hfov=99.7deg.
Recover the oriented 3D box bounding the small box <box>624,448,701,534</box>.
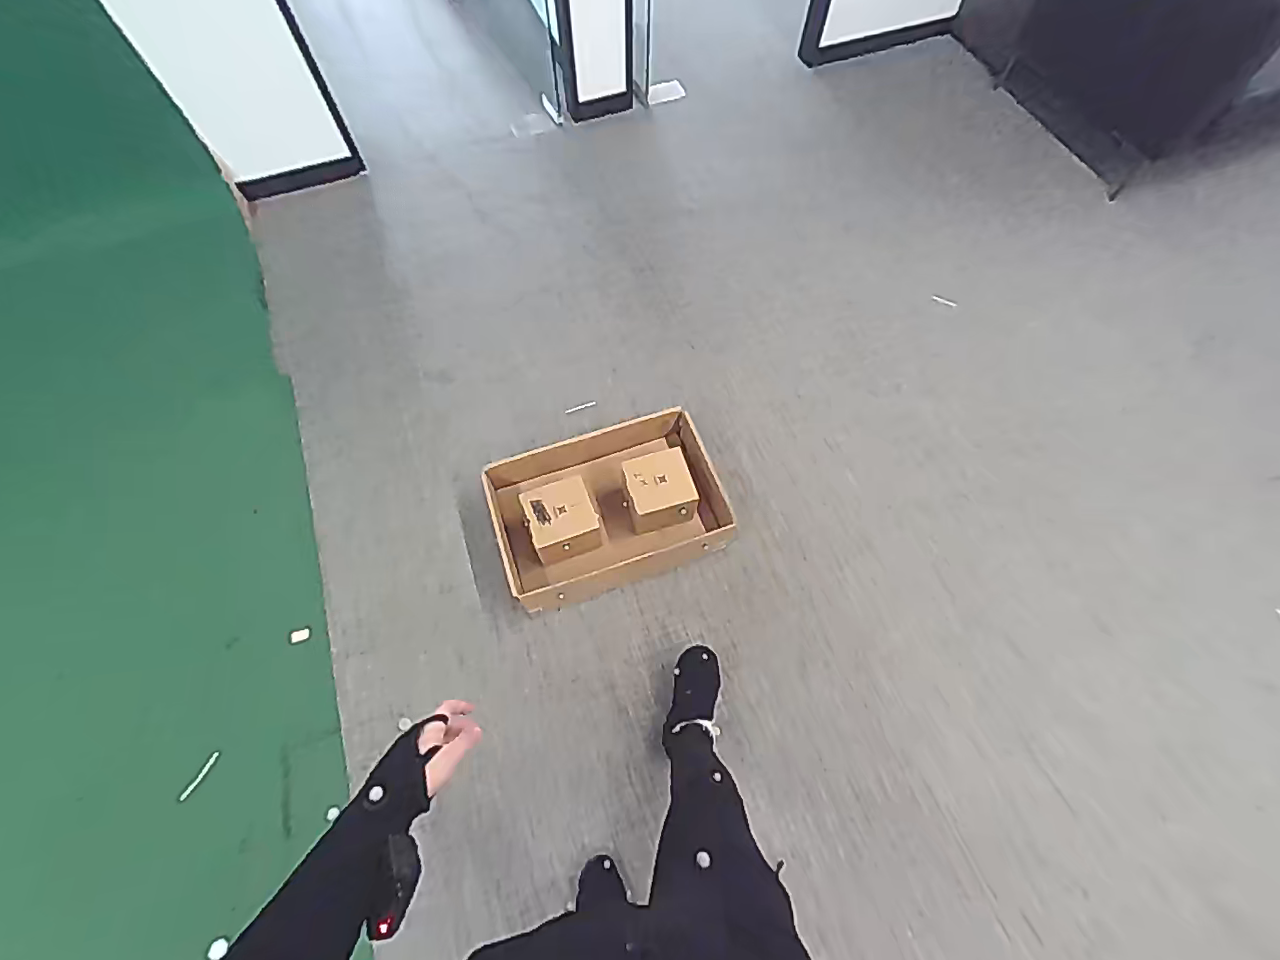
[{"bbox_3d":[0.059,0.034,1.528,0.179,0.176,0.168,-15,66,-6],"label":"small box"}]
